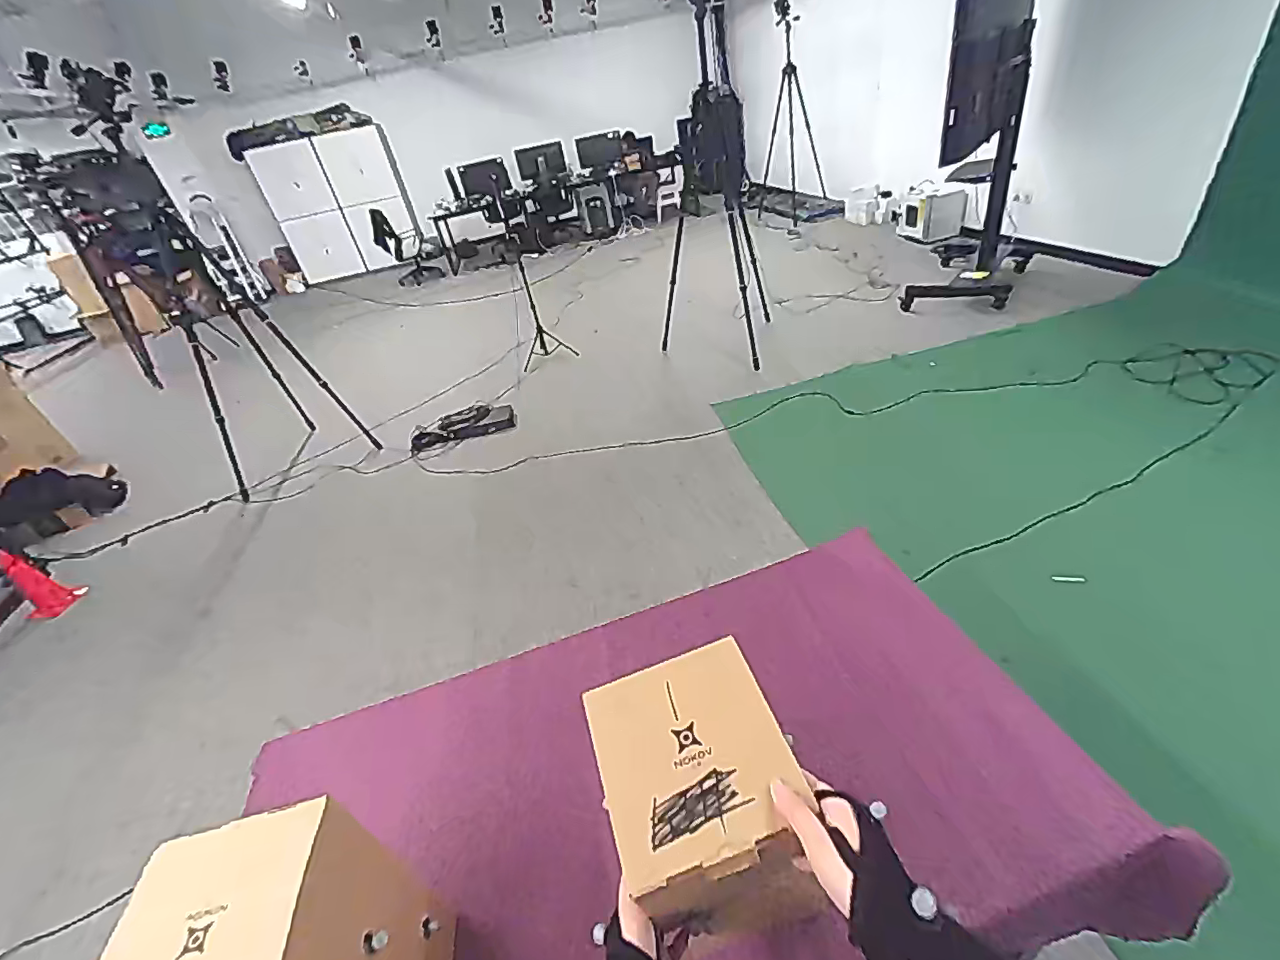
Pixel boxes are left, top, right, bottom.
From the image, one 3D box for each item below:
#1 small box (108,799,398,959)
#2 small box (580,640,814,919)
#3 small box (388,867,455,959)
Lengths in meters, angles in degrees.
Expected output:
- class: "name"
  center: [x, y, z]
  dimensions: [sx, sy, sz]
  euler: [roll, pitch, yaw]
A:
- class: "small box"
  center: [-0.349, 0.444, 0.501]
  dimensions: [0.168, 0.176, 0.179]
  euler: [-16, 34, -2]
- class: "small box"
  center: [0.056, 0.298, 0.534]
  dimensions: [0.168, 0.176, 0.179]
  euler: [-20, 42, -5]
- class: "small box"
  center: [-0.317, 0.576, 0.595]
  dimensions: [0.168, 0.176, 0.179]
  euler: [-15, 35, -2]
